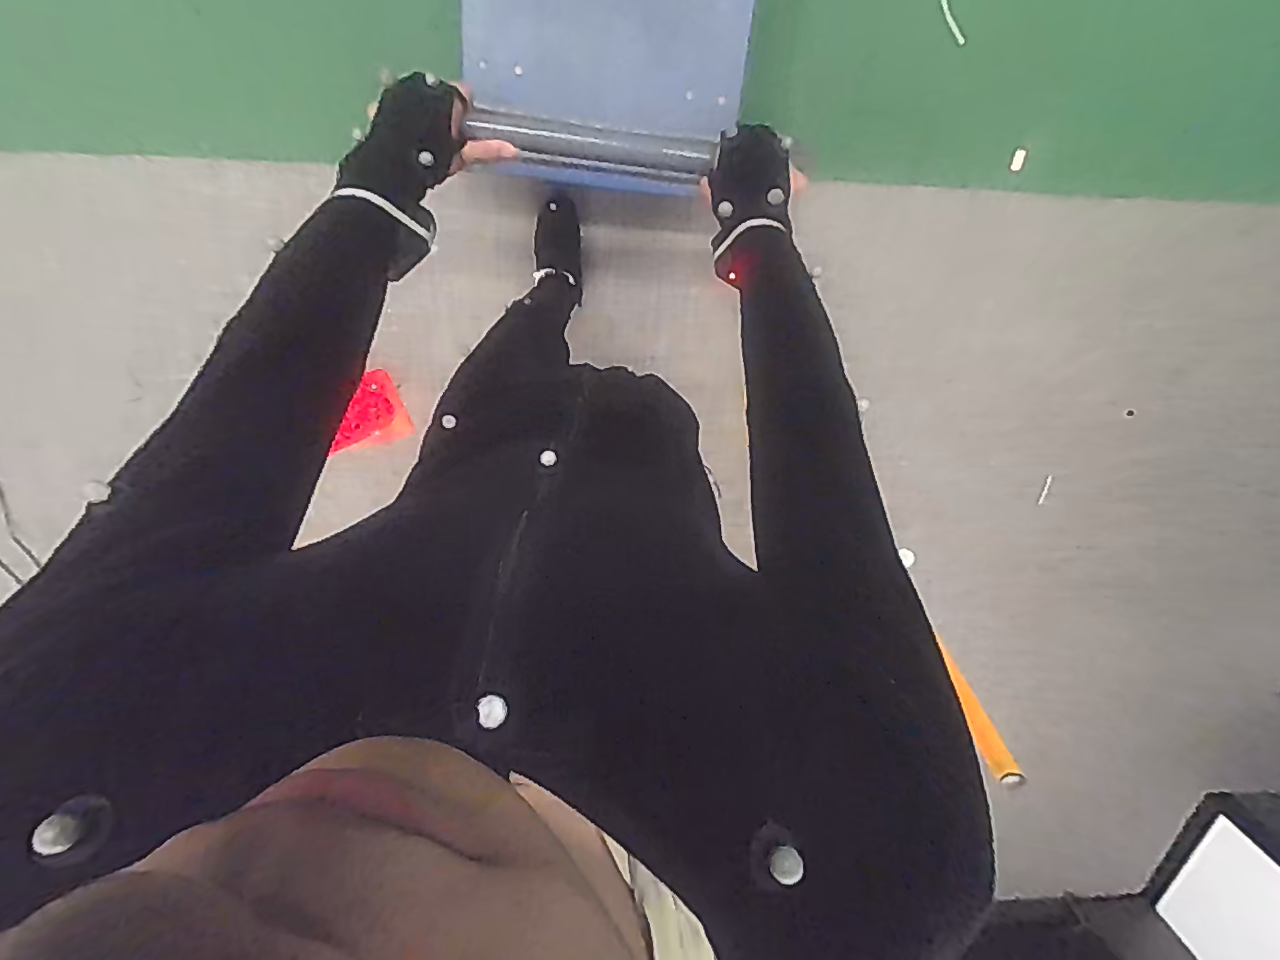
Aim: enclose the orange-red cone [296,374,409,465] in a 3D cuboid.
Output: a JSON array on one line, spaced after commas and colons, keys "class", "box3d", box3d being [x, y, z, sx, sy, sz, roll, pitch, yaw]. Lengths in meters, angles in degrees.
[{"class": "orange-red cone", "box3d": [-0.760, -0.119, 1.362, 0.199, 0.360, 0.198, -13, 114, 2]}]
